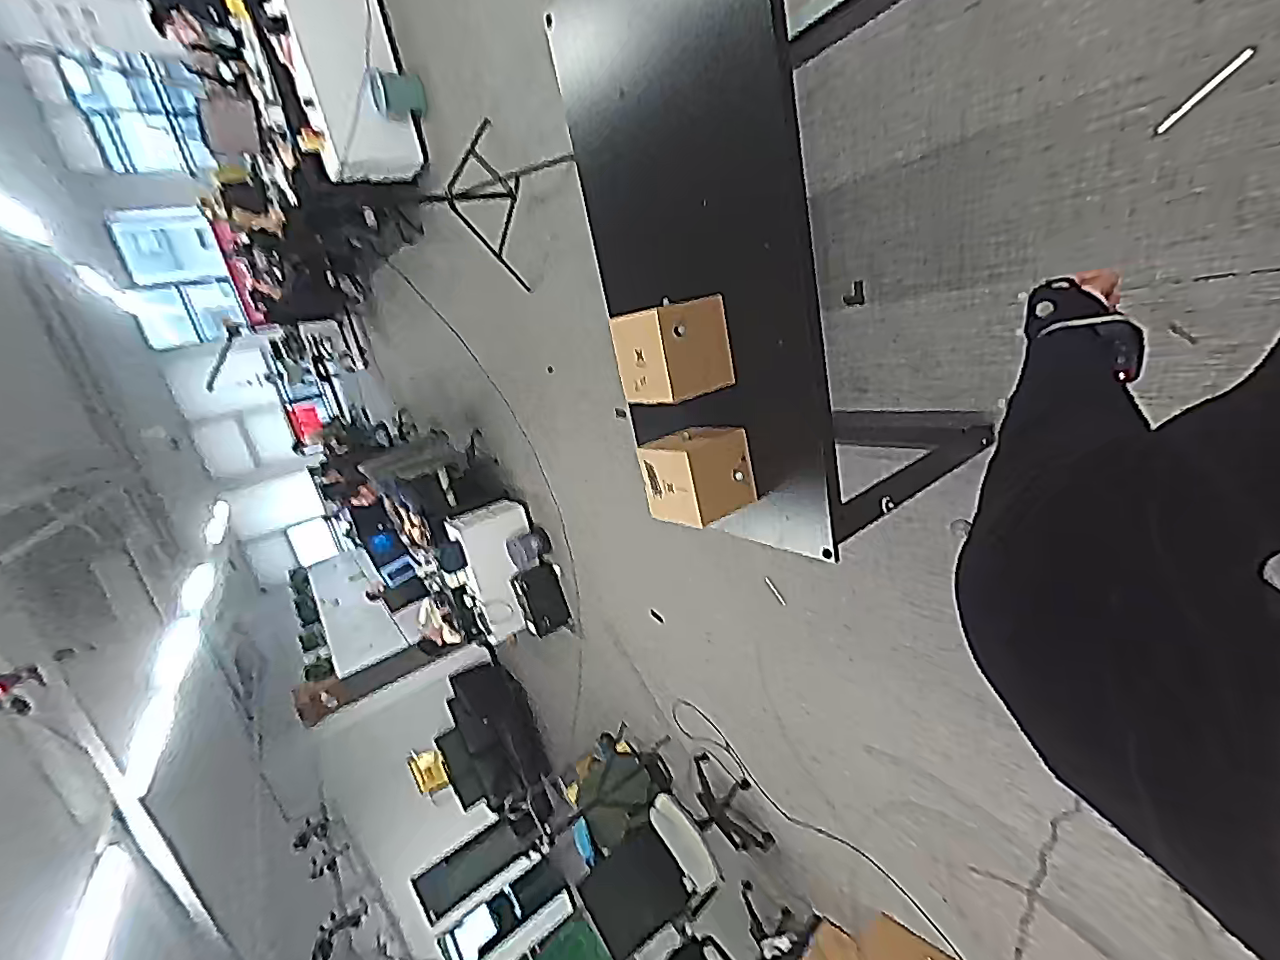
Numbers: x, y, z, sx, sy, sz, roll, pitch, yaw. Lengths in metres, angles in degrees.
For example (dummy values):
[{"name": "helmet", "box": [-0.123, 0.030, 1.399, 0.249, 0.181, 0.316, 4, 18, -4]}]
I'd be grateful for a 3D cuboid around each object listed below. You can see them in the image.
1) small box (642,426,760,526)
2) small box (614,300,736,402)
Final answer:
[{"name": "small box", "box": [0.133, -0.016, 1.183, 0.179, 0.176, 0.168, 8, 116, 55]}, {"name": "small box", "box": [0.074, -0.266, 1.110, 0.168, 0.176, 0.179, 11, 119, 55]}]
